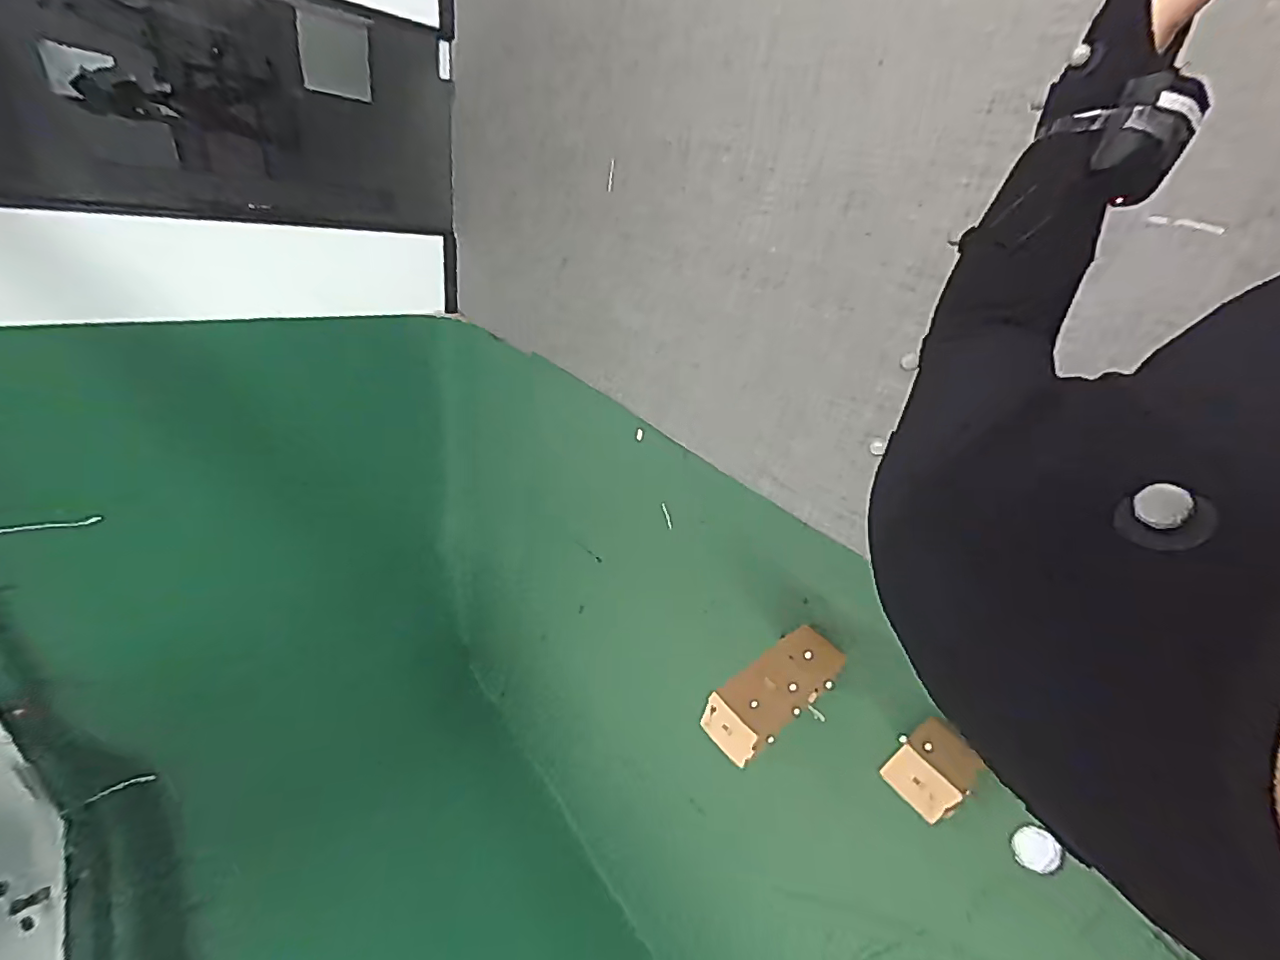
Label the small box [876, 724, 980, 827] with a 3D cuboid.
[{"bbox_3d":[0.825,0.834,1.550,0.179,0.176,0.168,42,131,34],"label":"small box"}]

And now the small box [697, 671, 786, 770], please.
[{"bbox_3d":[0.303,0.708,1.612,0.179,0.176,0.168,38,129,35],"label":"small box"}]

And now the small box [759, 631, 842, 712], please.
[{"bbox_3d":[0.542,0.634,1.825,0.179,0.176,0.168,40,129,35],"label":"small box"}]
